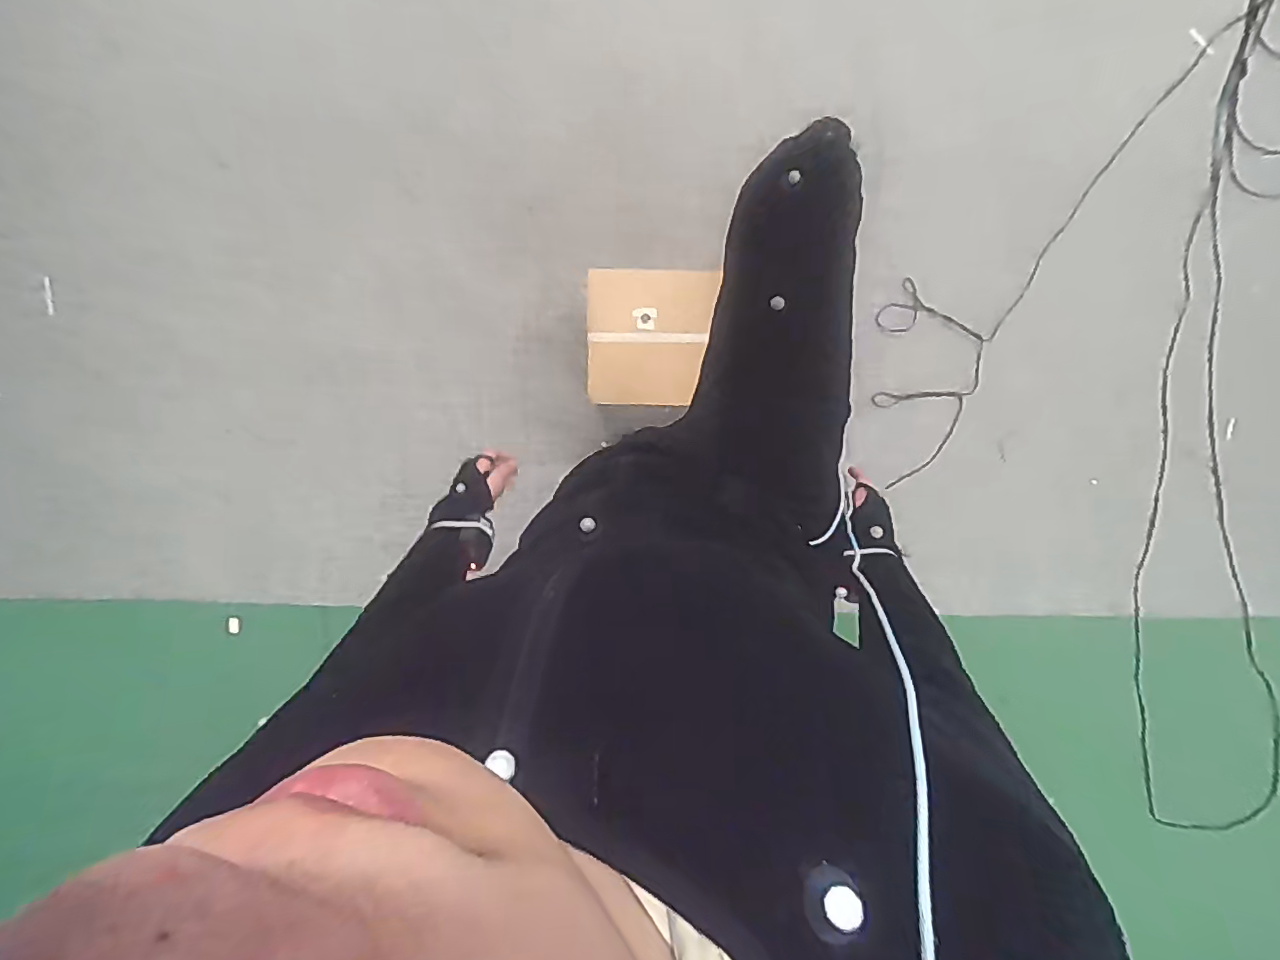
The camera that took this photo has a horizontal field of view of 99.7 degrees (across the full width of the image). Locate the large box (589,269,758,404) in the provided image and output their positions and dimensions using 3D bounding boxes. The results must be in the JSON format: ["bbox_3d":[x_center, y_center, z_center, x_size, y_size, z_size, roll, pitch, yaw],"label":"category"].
[{"bbox_3d":[0.080,-0.361,1.428,0.408,0.320,0.320,0,98,-1],"label":"large box"}]
